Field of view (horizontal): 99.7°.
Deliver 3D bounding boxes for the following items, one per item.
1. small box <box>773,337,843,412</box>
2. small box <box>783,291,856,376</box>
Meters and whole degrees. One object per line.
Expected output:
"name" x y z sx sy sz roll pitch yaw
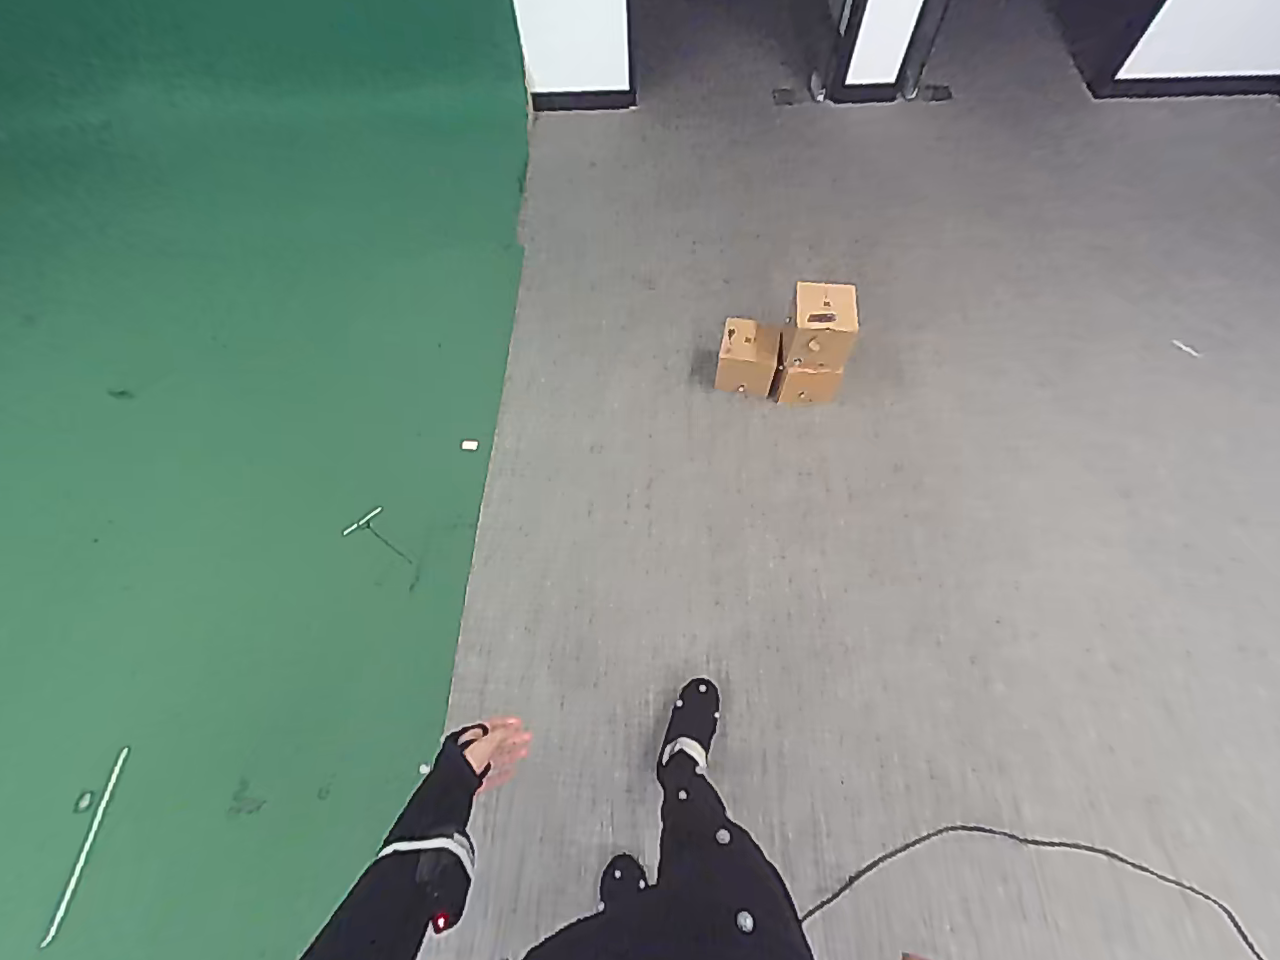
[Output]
"small box" 0.524 -0.335 1.713 0.168 0.176 0.179 1 63 2
"small box" 0.518 -0.421 1.572 0.168 0.176 0.179 6 63 5
